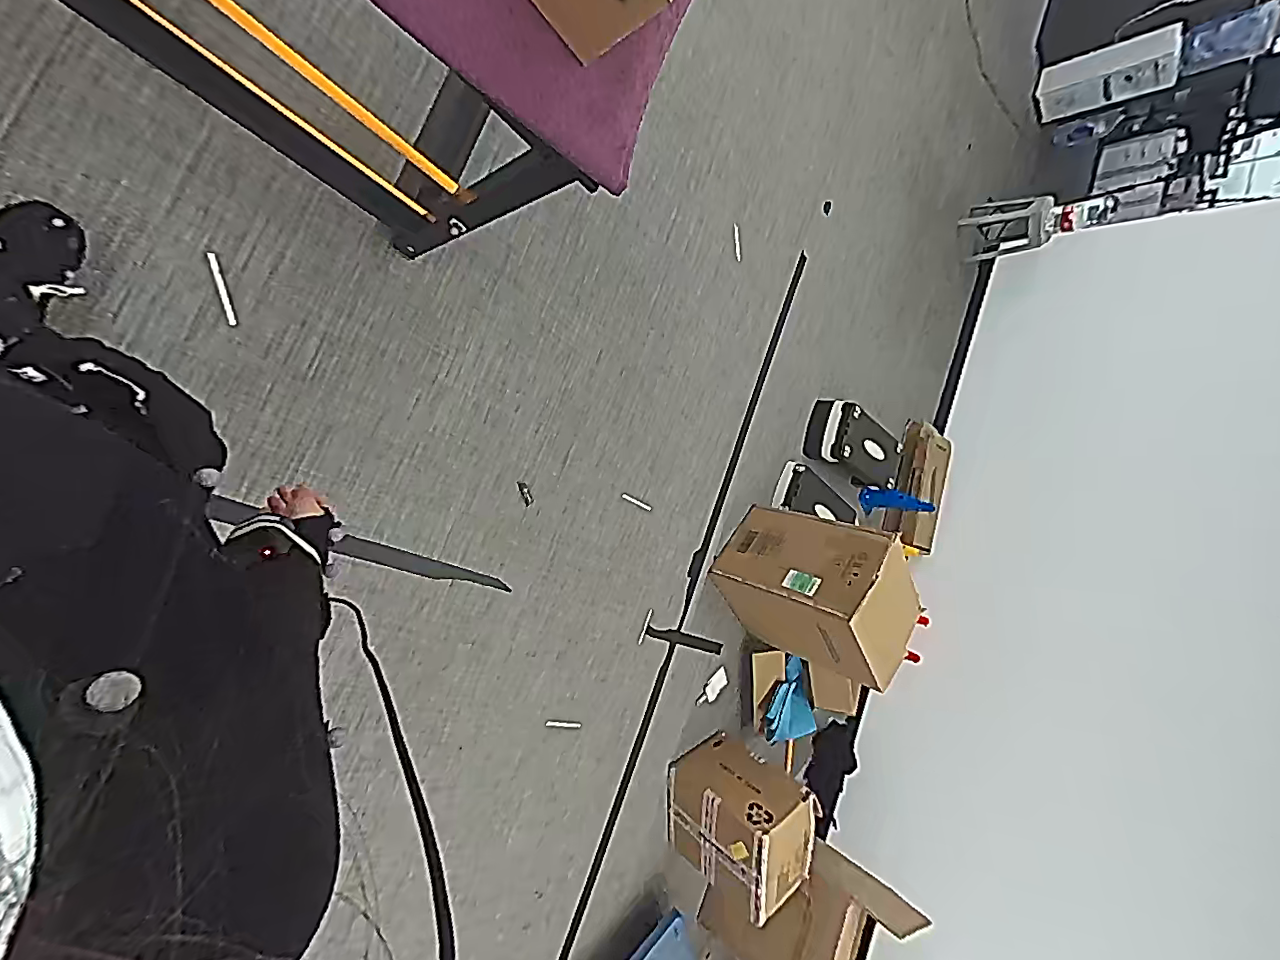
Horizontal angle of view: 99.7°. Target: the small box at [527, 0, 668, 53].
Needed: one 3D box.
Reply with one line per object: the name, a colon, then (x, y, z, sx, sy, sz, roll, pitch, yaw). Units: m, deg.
small box: (-0.054, -0.659, 0.640, 0.179, 0.176, 0.168, 31, 75, -42)
